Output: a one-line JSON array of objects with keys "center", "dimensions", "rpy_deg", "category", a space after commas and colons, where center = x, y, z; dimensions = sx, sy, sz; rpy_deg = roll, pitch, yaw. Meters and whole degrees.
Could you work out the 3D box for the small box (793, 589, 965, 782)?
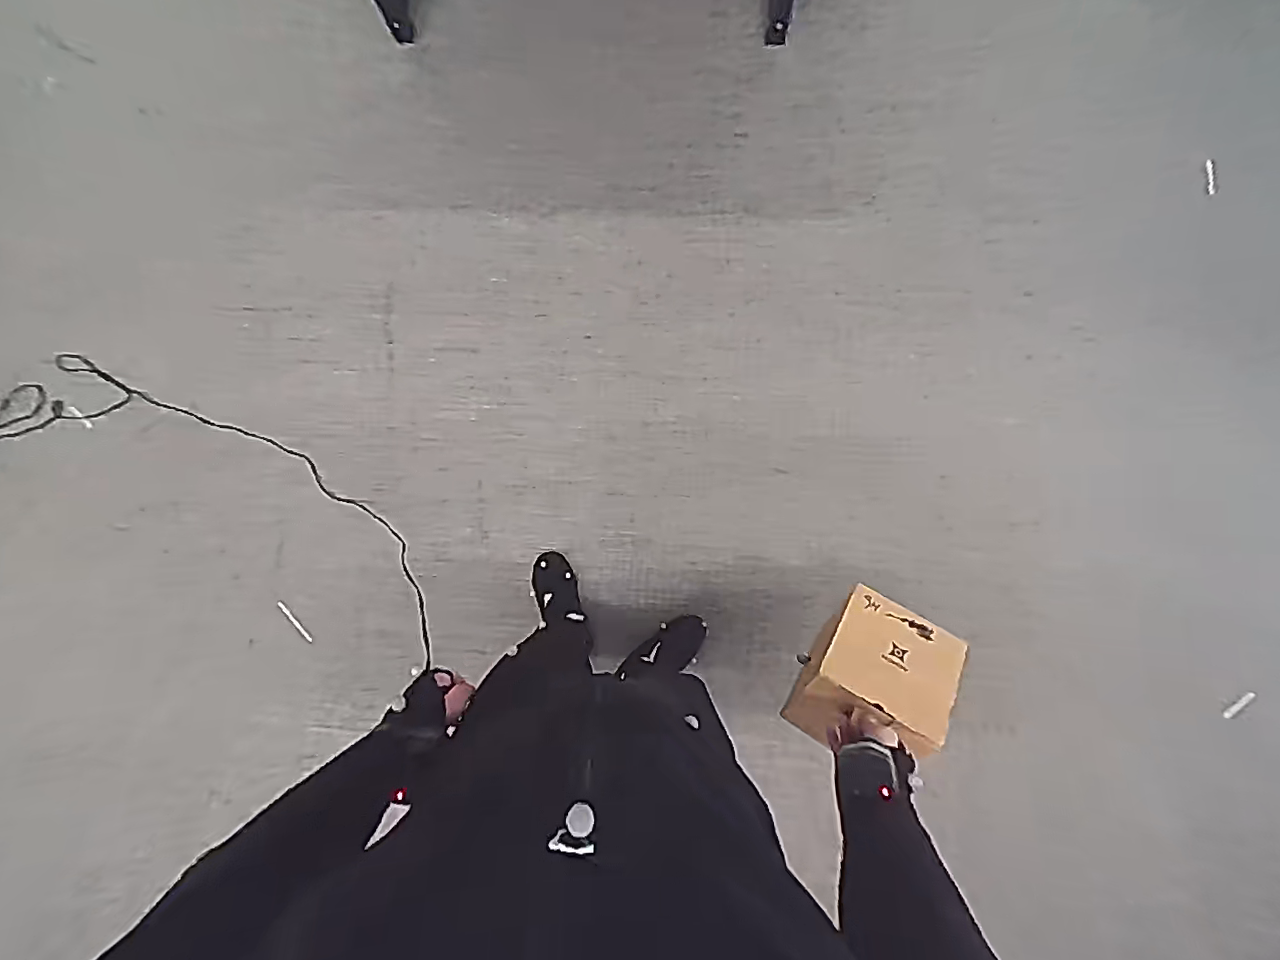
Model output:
[{"center": [0.341, 0.304, 0.795], "dimensions": [0.168, 0.176, 0.179], "rpy_deg": [26, 48, 18], "category": "small box"}]
